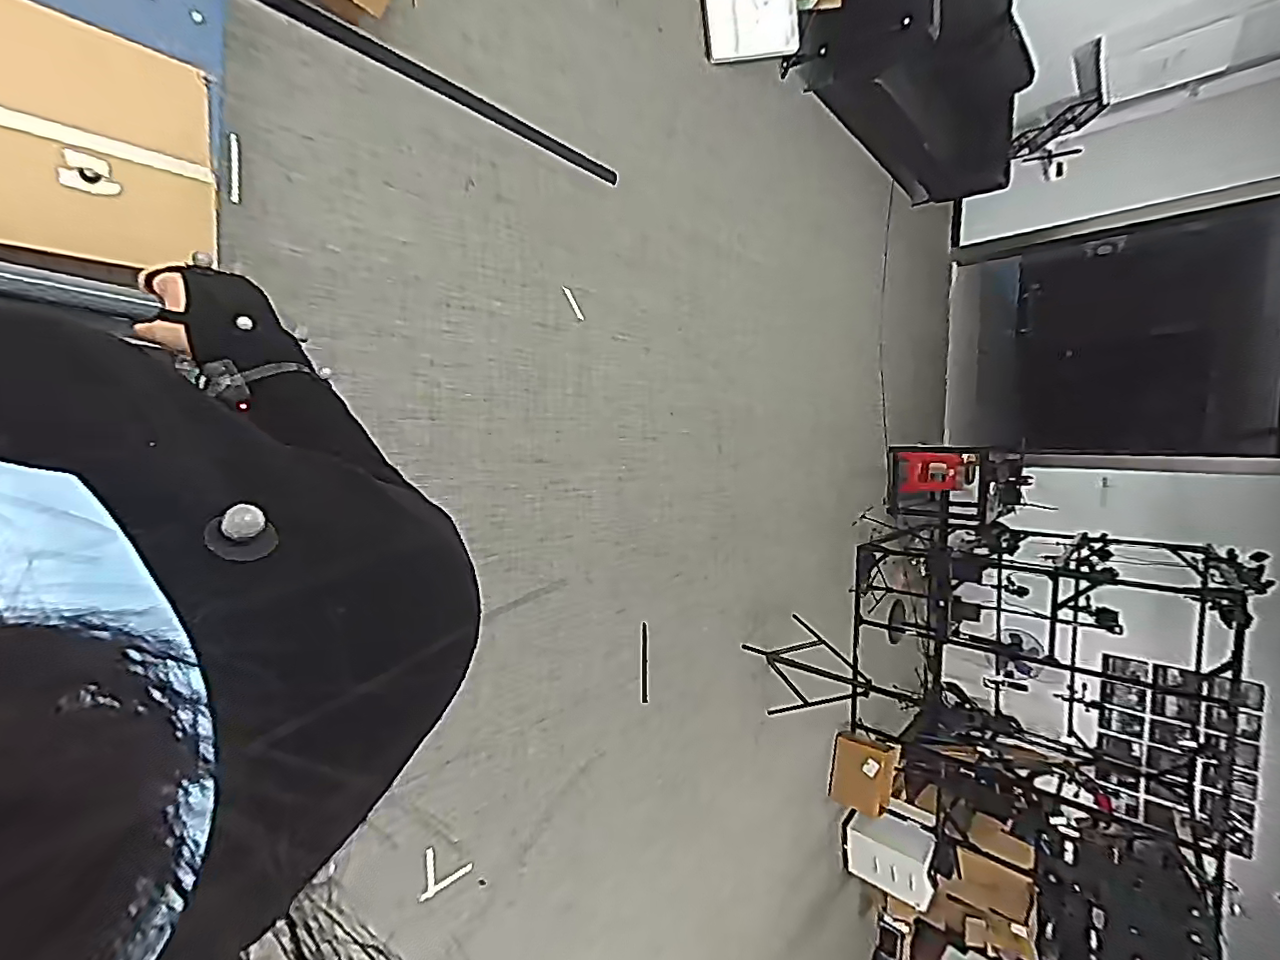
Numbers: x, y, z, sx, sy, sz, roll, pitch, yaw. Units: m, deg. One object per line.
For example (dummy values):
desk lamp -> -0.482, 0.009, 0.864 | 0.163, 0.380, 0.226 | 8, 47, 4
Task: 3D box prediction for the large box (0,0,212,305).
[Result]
large box -> -0.912, -0.465, 0.777 | 0.408, 0.320, 0.320 | -4, 97, -50
